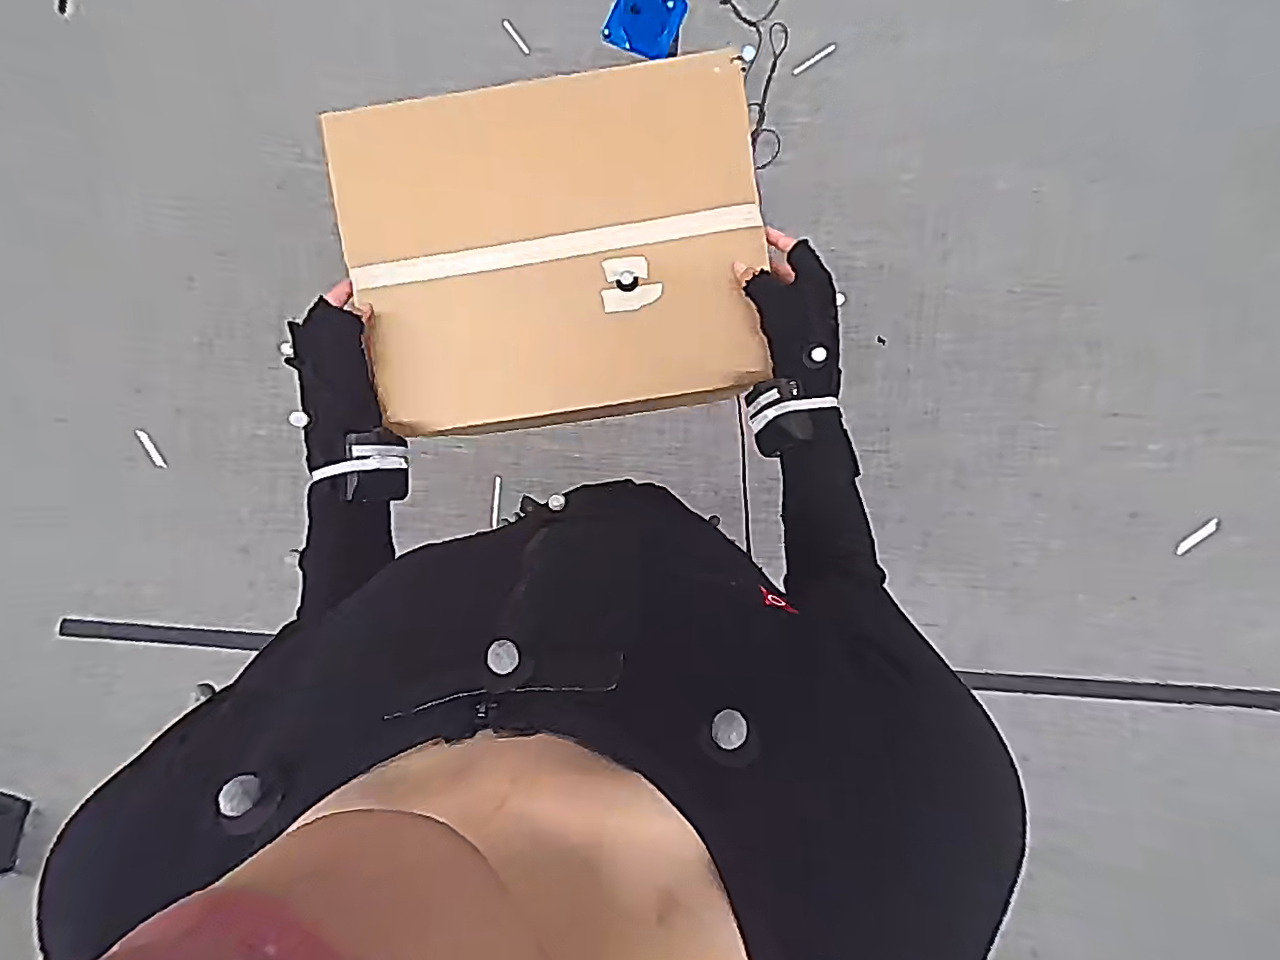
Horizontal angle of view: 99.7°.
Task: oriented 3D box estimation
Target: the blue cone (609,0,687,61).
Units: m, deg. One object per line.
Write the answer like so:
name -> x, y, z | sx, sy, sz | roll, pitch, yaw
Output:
blue cone -> 0.015, -1.330, 1.400 | 0.193, 0.380, 0.192 | 25, 89, 4

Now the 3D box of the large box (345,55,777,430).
large box -> -0.077, -0.246, 0.688 | 0.408, 0.320, 0.320 | -7, 95, 1
